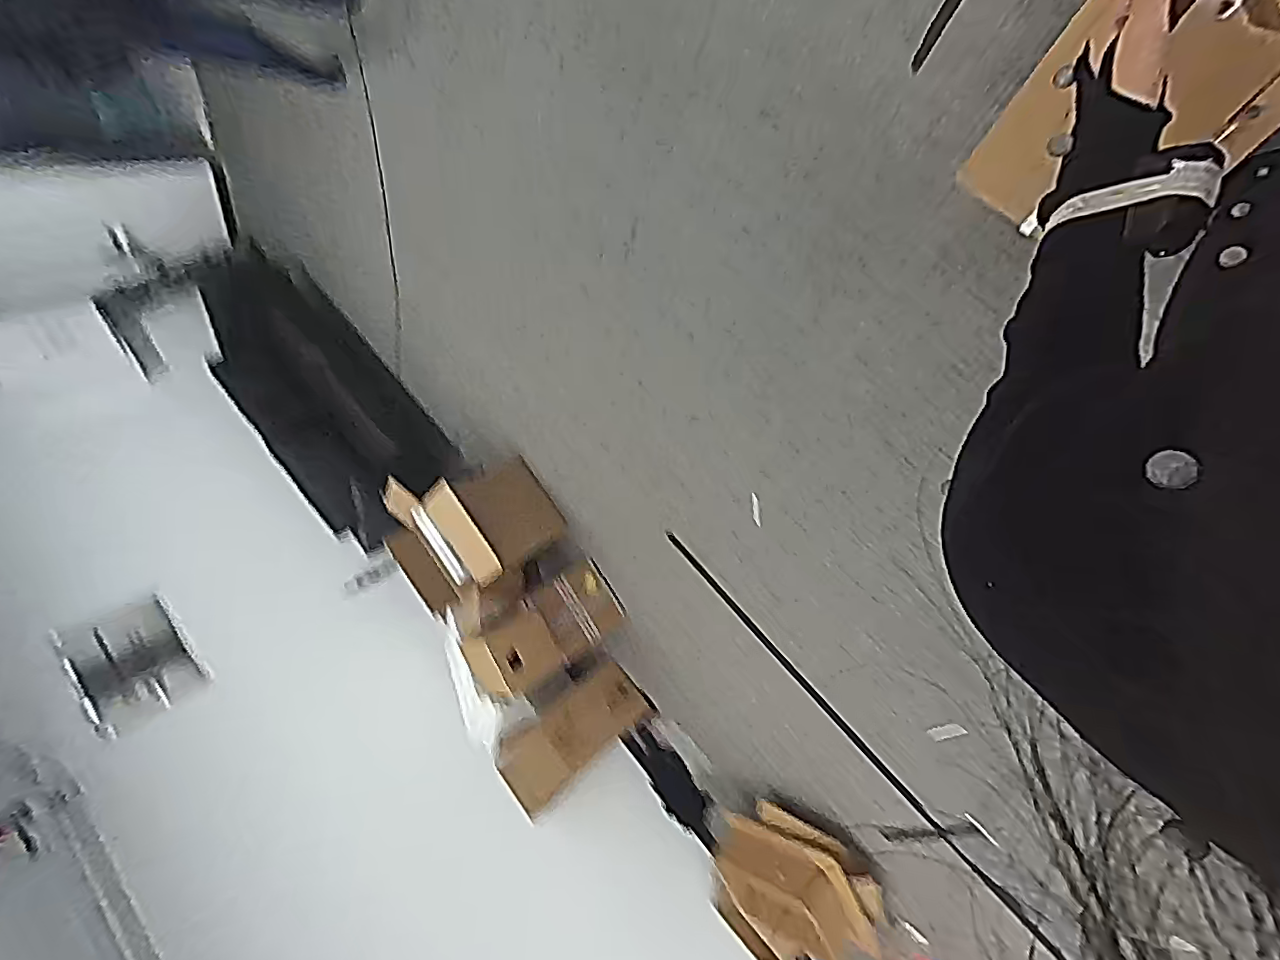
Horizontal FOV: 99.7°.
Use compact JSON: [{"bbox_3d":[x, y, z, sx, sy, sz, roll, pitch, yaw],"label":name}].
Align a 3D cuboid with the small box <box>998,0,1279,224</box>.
[{"bbox_3d":[0.575,-0.432,0.630,0.179,0.176,0.168,45,140,16],"label":"small box"}]
